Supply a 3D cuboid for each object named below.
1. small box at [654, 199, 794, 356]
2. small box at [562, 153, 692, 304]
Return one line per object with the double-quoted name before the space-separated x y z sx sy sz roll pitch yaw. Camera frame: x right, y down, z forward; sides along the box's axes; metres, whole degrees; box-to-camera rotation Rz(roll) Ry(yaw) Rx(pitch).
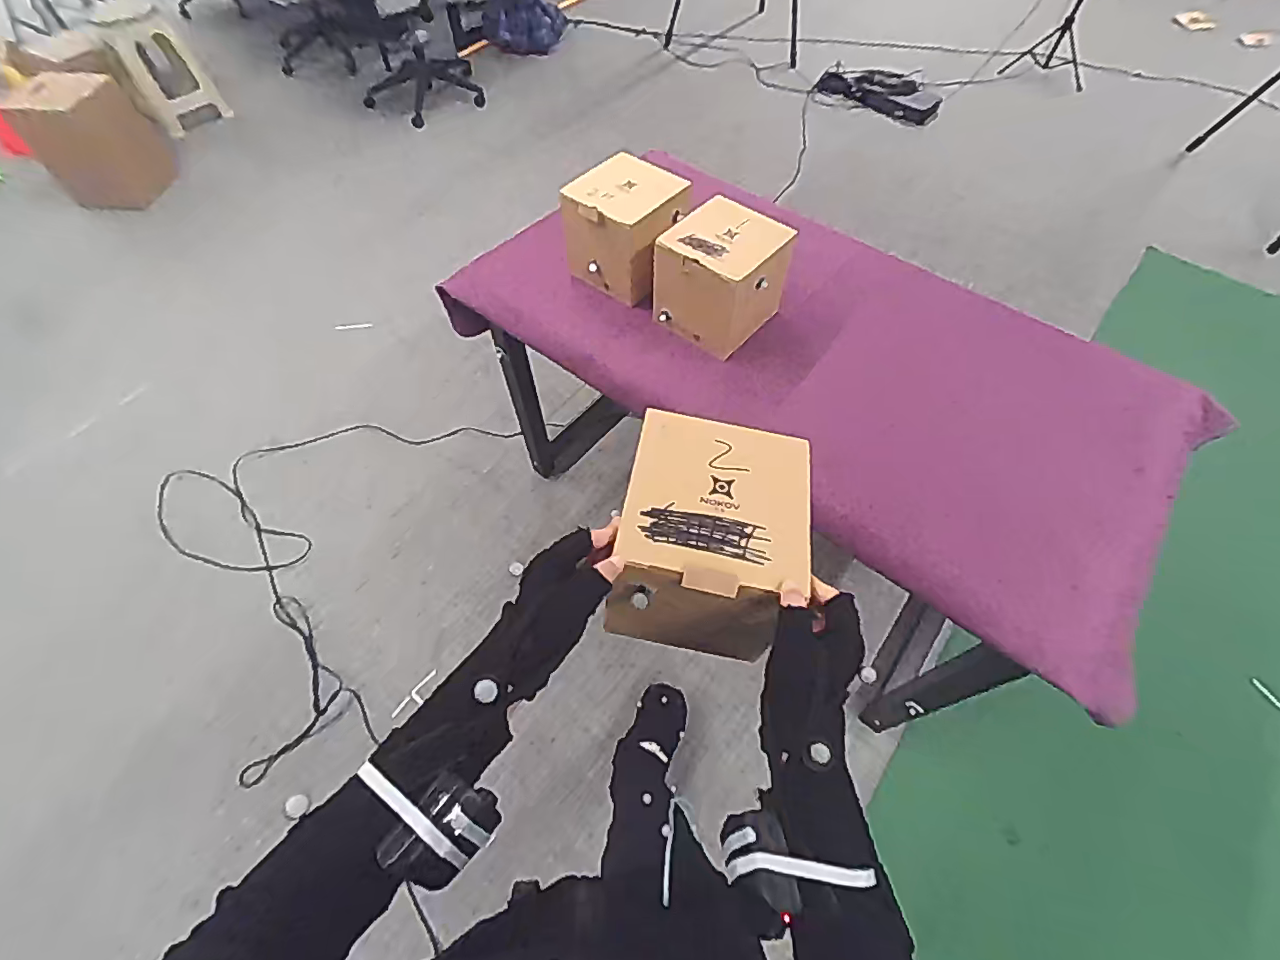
"small box" 0.146 -0.350 0.948 0.168 0.176 0.179 32 66 23
"small box" -0.023 -0.470 1.019 0.168 0.176 0.179 35 65 20
